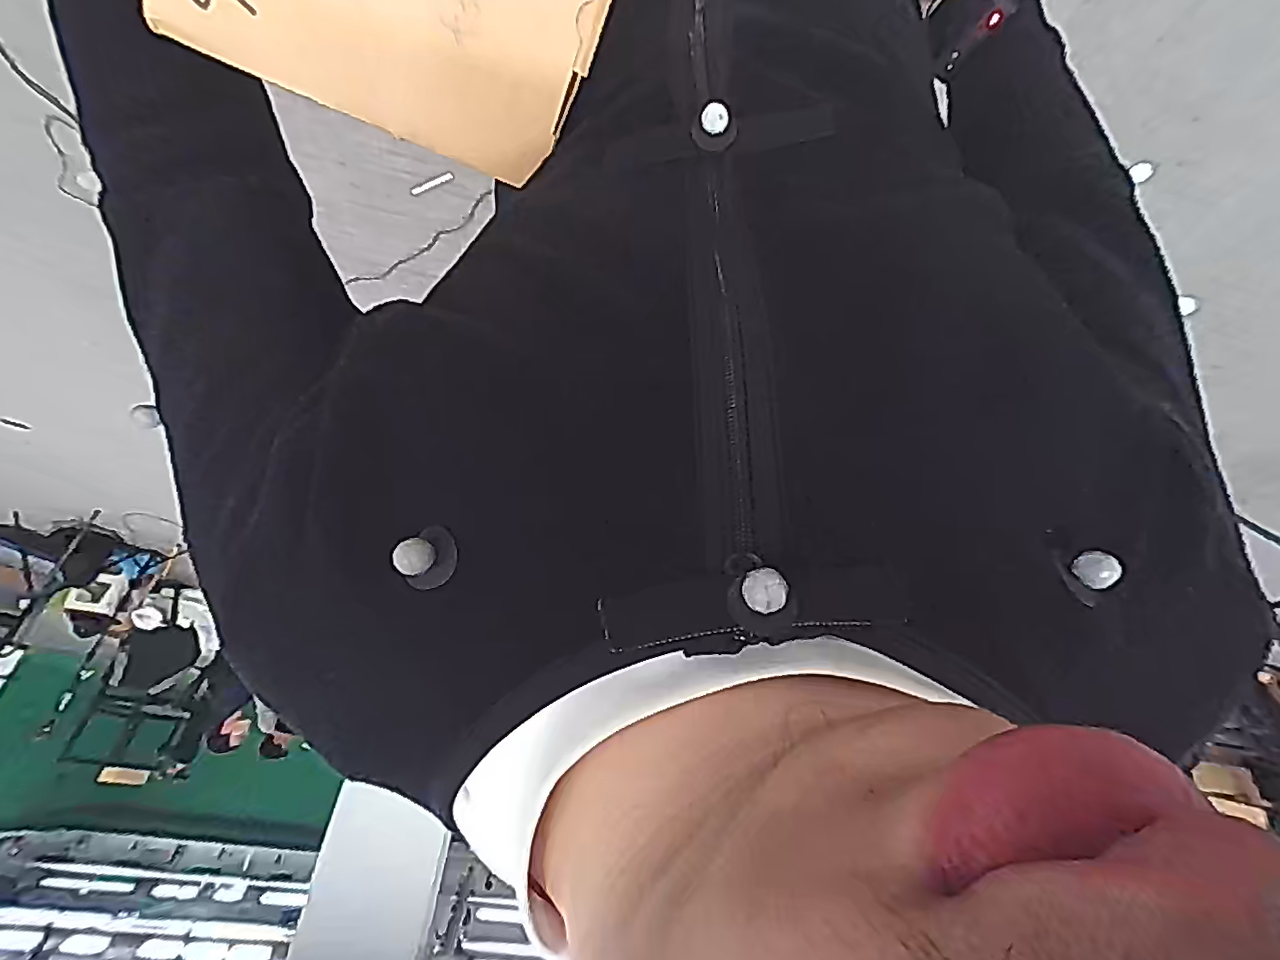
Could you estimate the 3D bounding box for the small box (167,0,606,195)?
[{"bbox_3d":[-0.119,-0.289,0.297,0.179,0.176,0.168,12,121,-25],"label":"small box"}]
